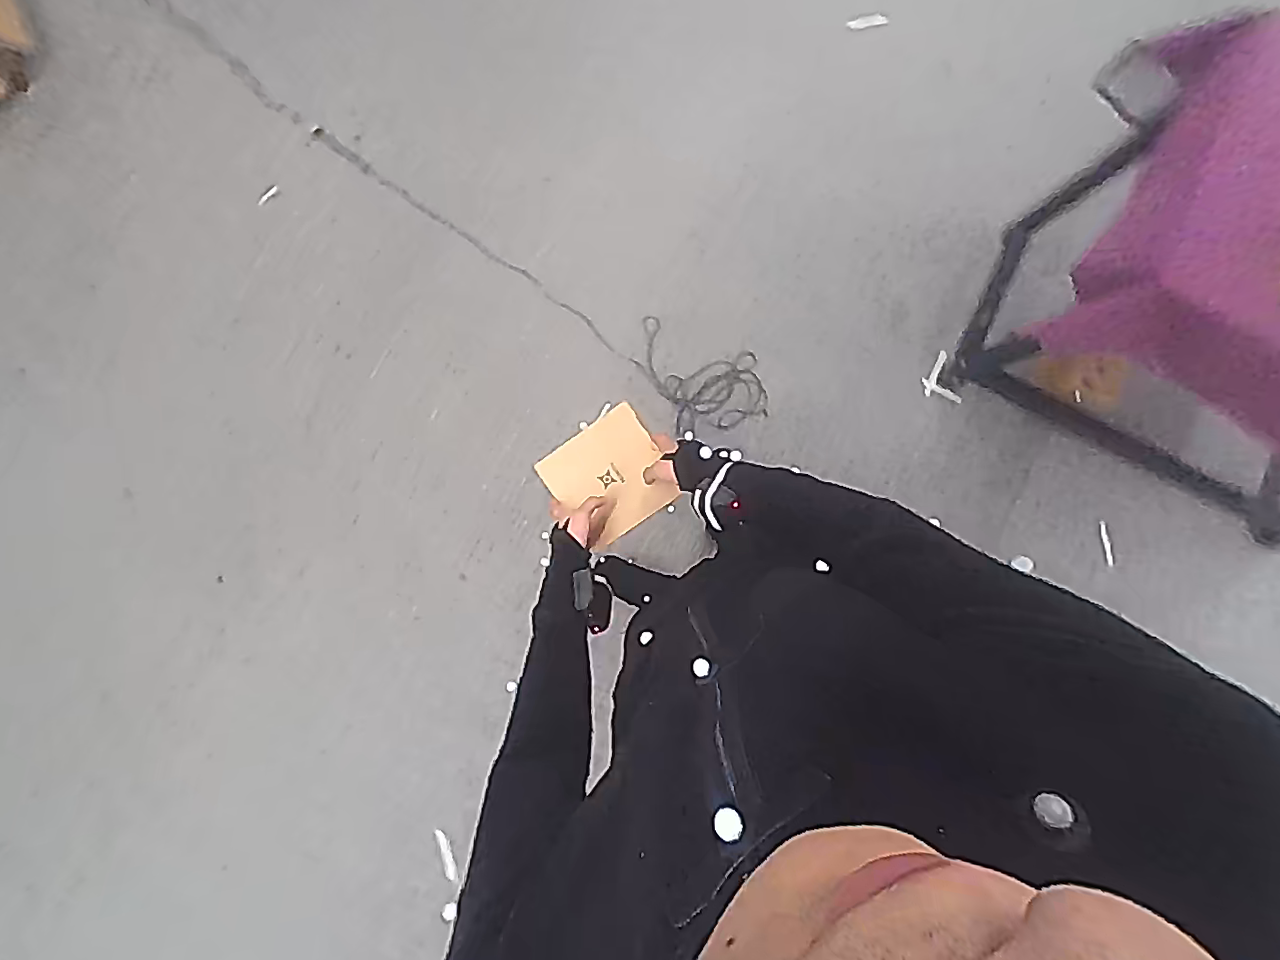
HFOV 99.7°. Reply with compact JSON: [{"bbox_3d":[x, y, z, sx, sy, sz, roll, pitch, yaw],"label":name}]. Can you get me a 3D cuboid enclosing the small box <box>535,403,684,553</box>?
[{"bbox_3d":[-0.038,-0.003,0.888,0.179,0.176,0.168,-35,88,5],"label":"small box"}]
